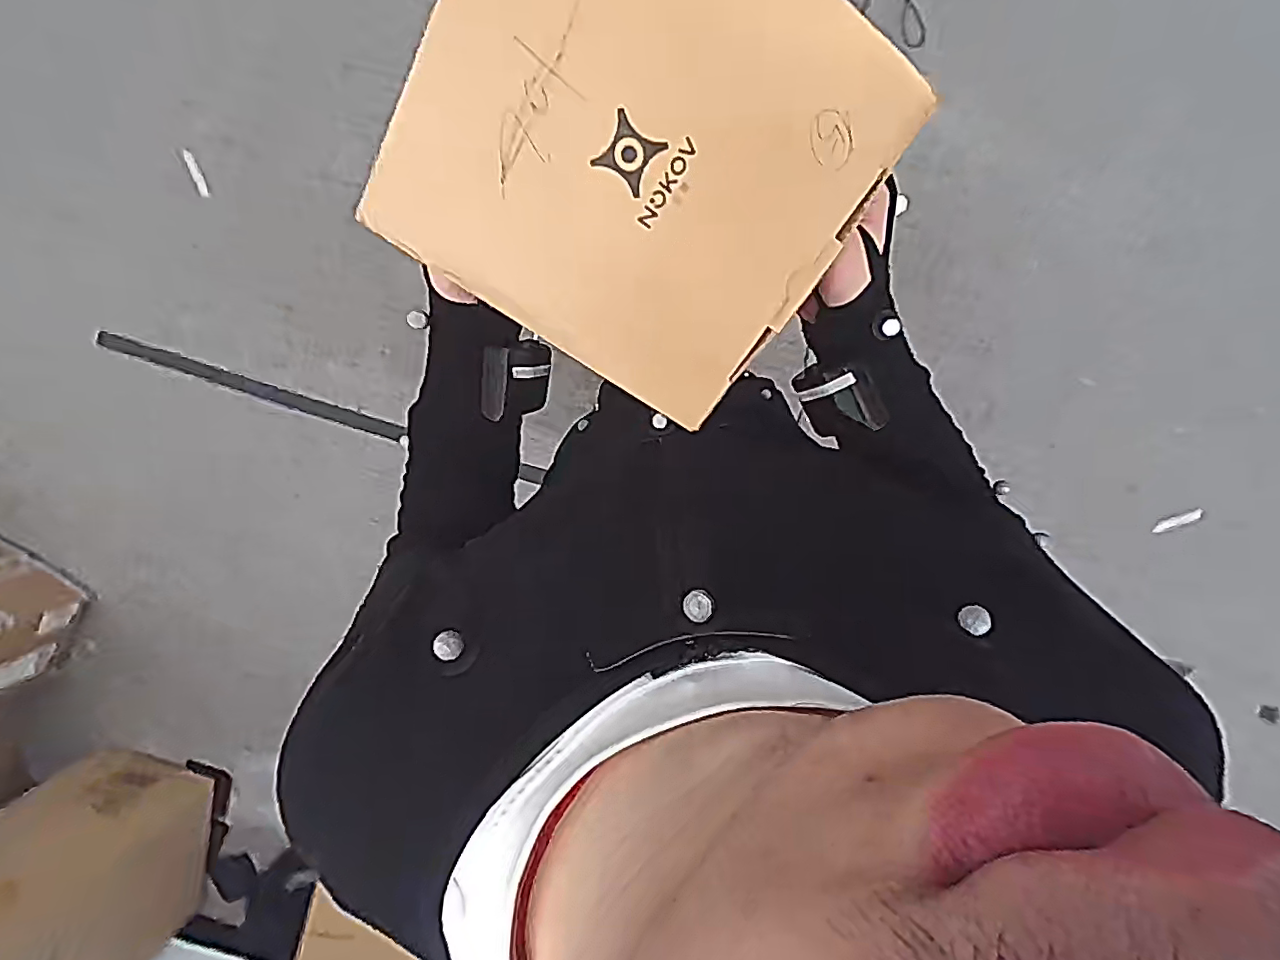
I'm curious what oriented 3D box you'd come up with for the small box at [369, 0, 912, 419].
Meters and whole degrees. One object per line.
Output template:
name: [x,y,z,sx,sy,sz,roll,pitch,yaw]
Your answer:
small box: [-0.003,-0.167,0.299,0.179,0.176,0.168,31,111,-14]
